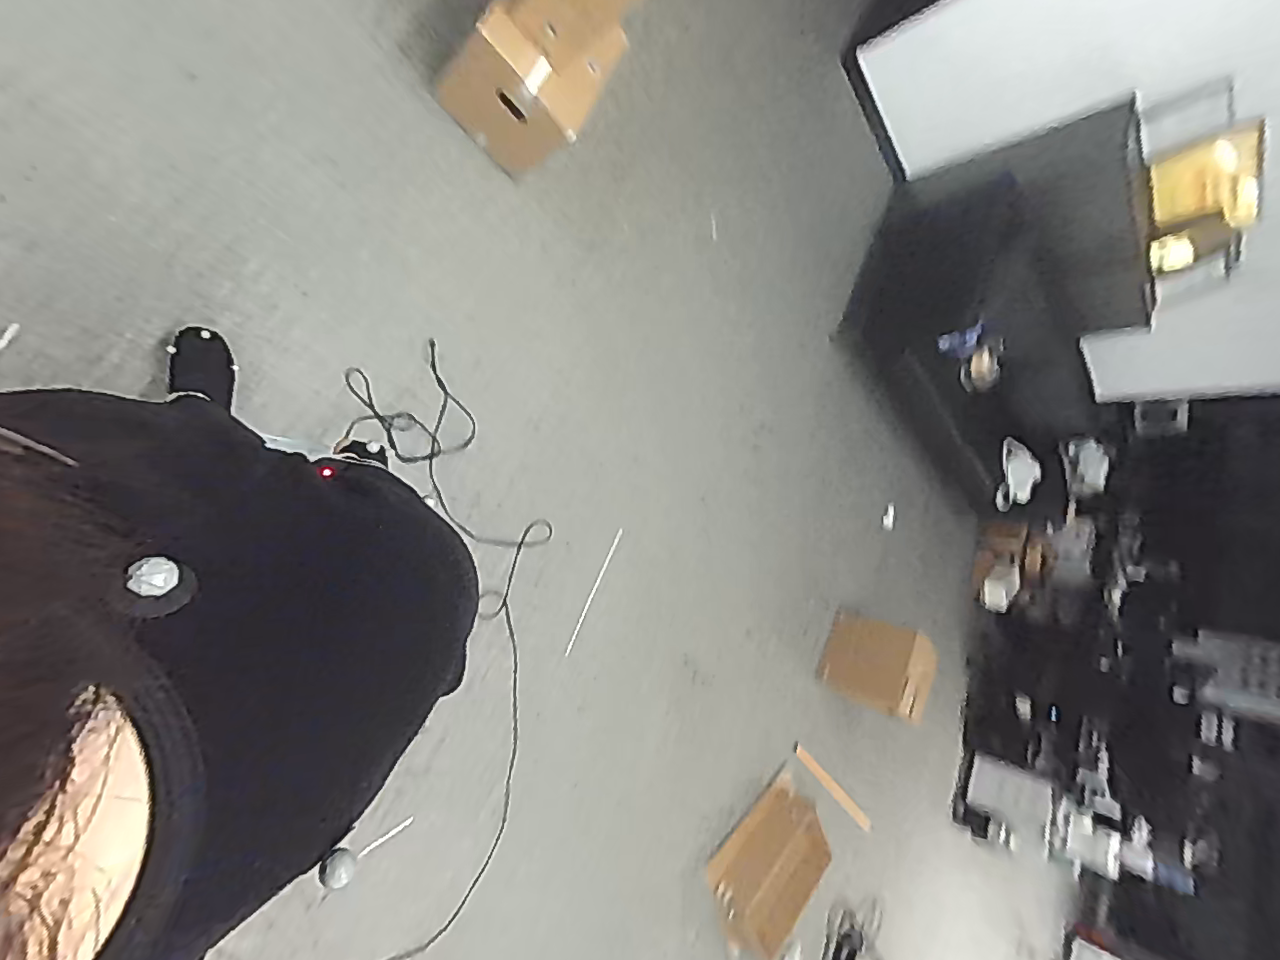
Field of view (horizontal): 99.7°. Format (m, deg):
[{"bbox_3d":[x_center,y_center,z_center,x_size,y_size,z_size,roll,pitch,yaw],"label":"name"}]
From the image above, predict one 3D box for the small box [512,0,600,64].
[{"bbox_3d":[-0.182,-1.162,1.295,0.168,0.176,0.179,31,73,-36],"label":"small box"}]
